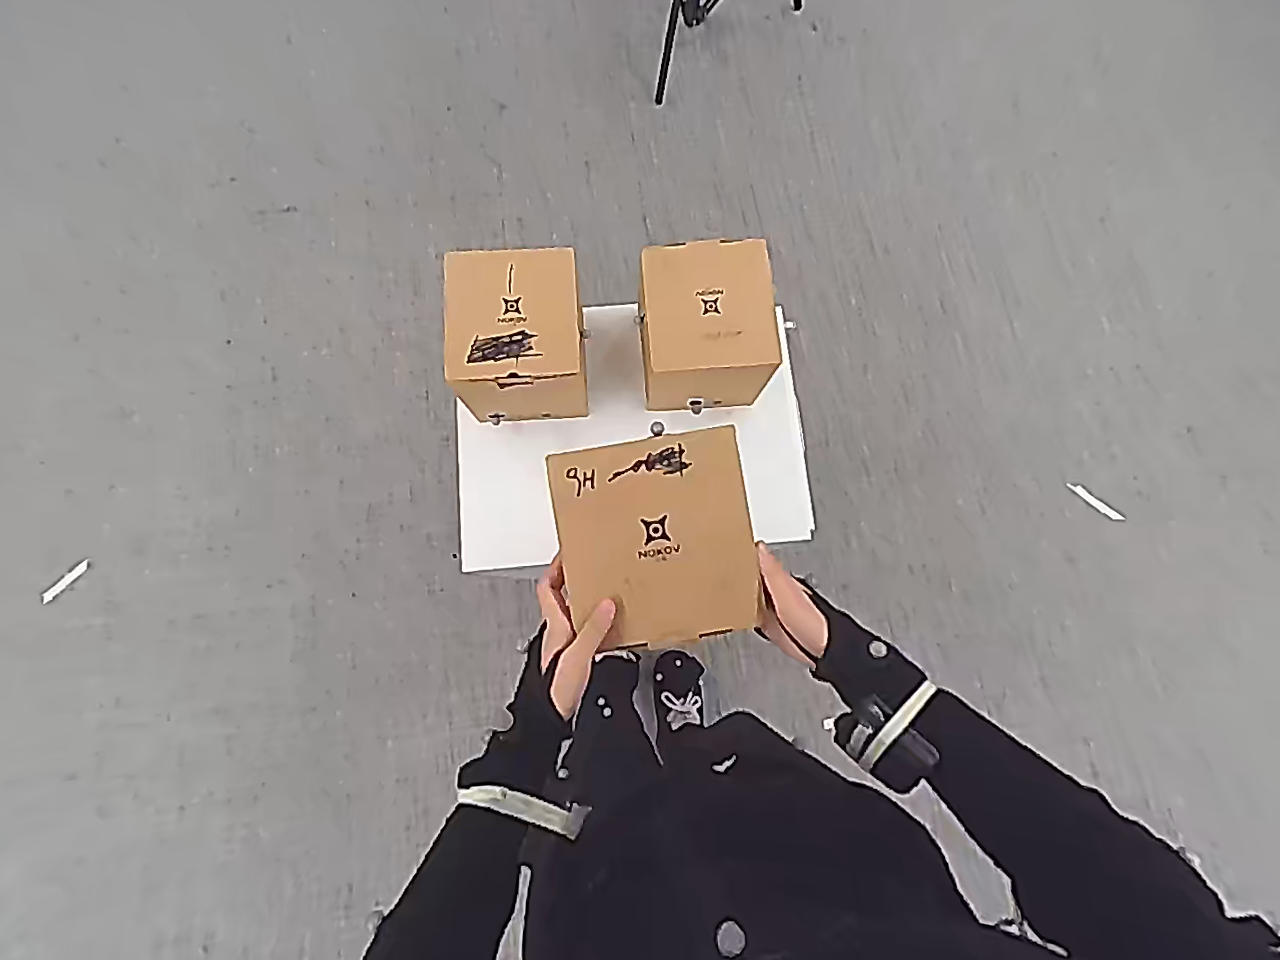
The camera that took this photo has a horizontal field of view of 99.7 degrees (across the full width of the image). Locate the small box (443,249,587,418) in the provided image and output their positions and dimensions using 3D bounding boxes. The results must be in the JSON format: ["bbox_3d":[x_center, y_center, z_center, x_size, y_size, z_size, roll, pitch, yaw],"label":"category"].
[{"bbox_3d":[-0.163,-0.188,0.745,0.168,0.176,0.179,-3,79,-3],"label":"small box"}]

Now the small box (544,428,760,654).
[{"bbox_3d":[0.011,0.050,0.540,0.168,0.176,0.179,-10,91,-1],"label":"small box"}]

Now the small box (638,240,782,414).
[{"bbox_3d":[0.087,-0.206,0.760,0.168,0.176,0.179,-5,81,-2],"label":"small box"}]
